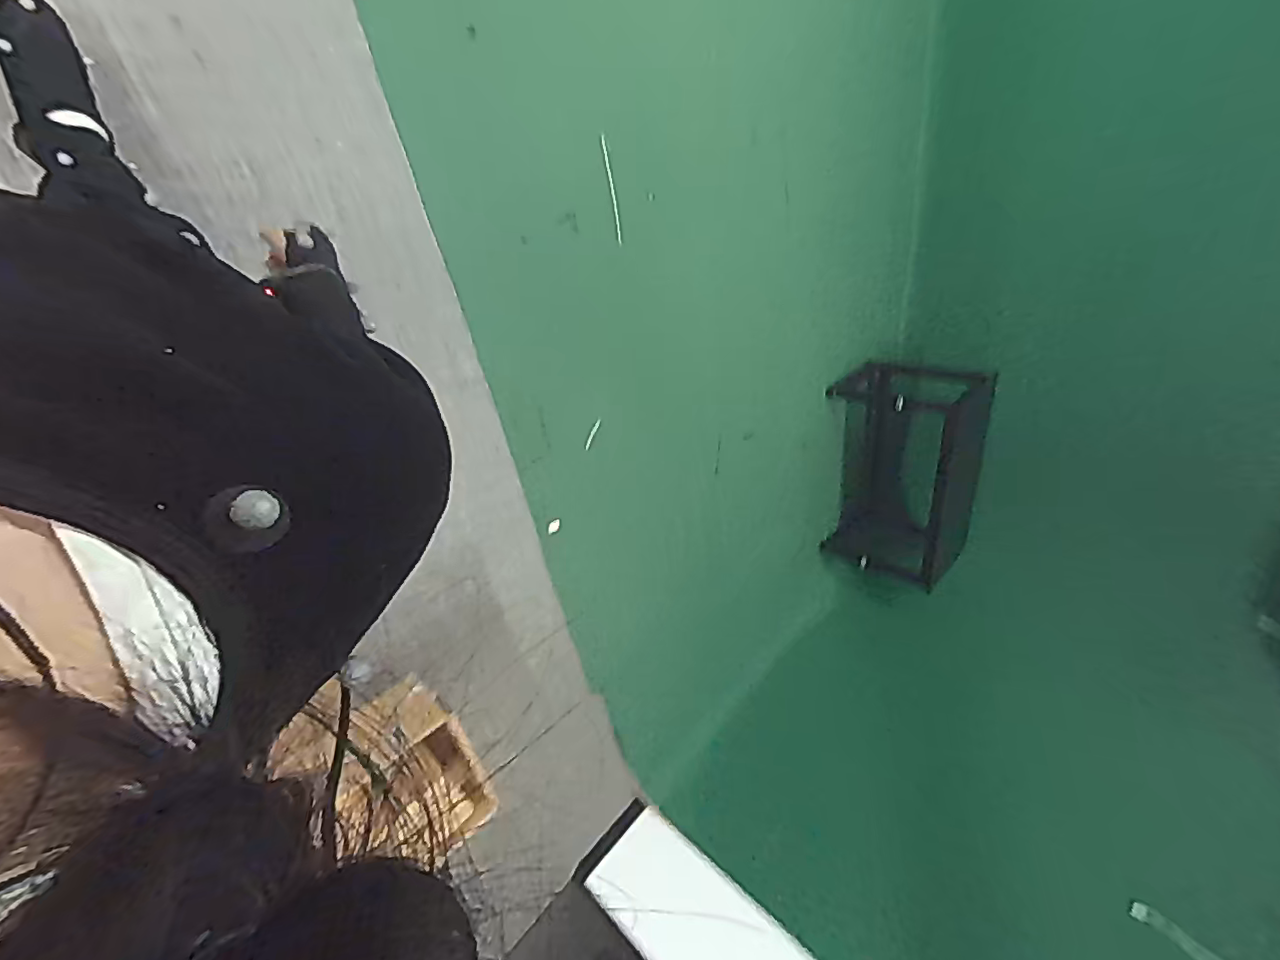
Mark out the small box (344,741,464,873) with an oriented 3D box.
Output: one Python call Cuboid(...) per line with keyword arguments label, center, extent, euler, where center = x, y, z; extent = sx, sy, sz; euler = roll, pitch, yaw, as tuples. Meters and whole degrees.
Cuboid(label="small box", center=(-0.550, 0.752, 1.261), extent=(0.168, 0.176, 0.179), euler=(-39, 130, -33))
